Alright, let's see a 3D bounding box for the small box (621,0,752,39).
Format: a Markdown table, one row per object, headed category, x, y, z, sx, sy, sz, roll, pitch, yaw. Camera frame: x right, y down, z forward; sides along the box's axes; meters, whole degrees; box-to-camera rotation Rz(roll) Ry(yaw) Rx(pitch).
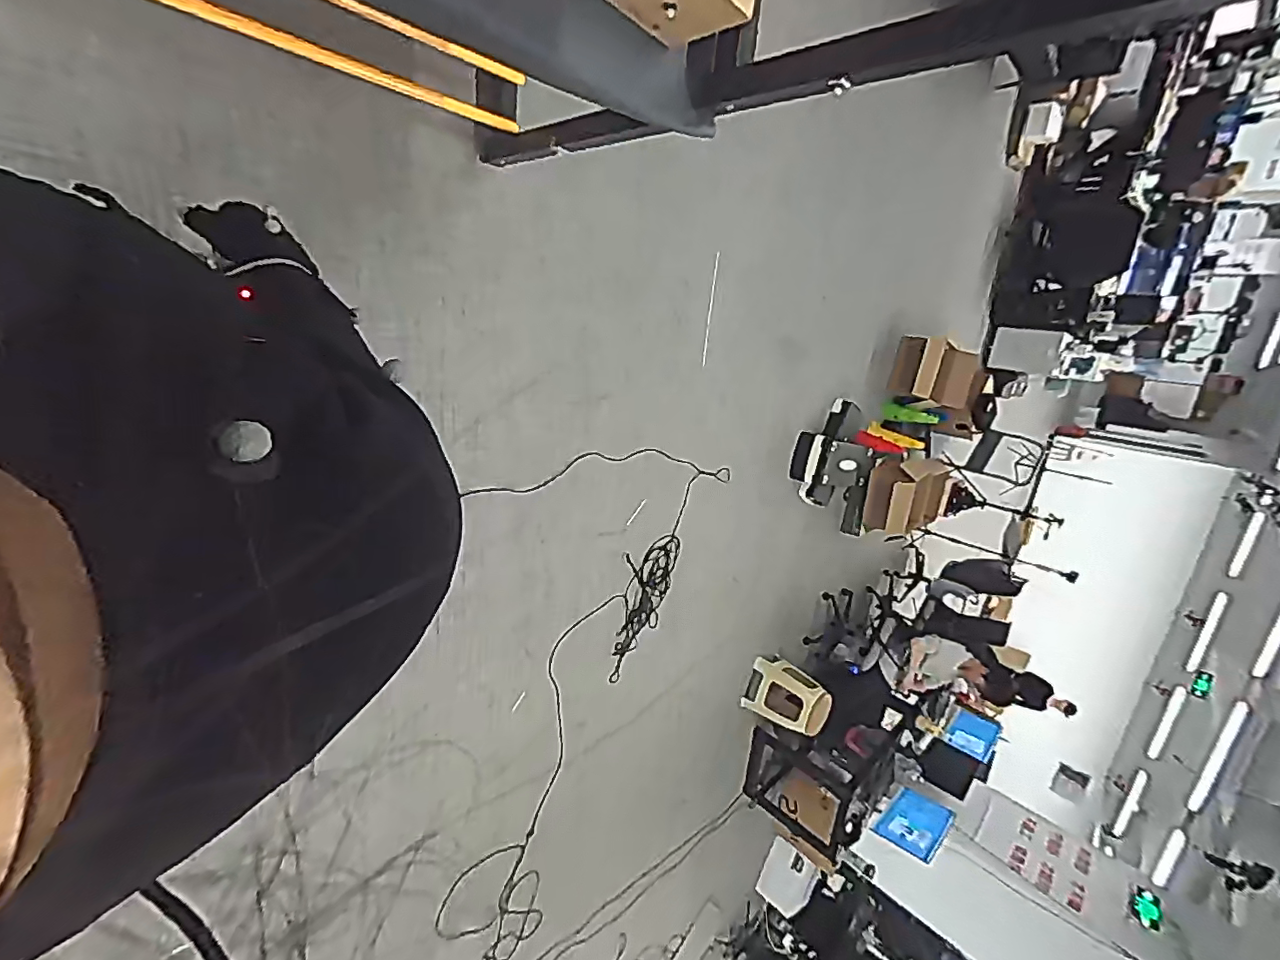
| category | x | y | z | sx | sy | sz | roll | pitch | yaw |
| --- | --- | --- | --- | --- | --- | --- | --- | --- | --- |
| small box | 0.062 | -0.793 | 0.786 | 0.168 | 0.176 | 0.179 | -6 | 110 | -46 |
